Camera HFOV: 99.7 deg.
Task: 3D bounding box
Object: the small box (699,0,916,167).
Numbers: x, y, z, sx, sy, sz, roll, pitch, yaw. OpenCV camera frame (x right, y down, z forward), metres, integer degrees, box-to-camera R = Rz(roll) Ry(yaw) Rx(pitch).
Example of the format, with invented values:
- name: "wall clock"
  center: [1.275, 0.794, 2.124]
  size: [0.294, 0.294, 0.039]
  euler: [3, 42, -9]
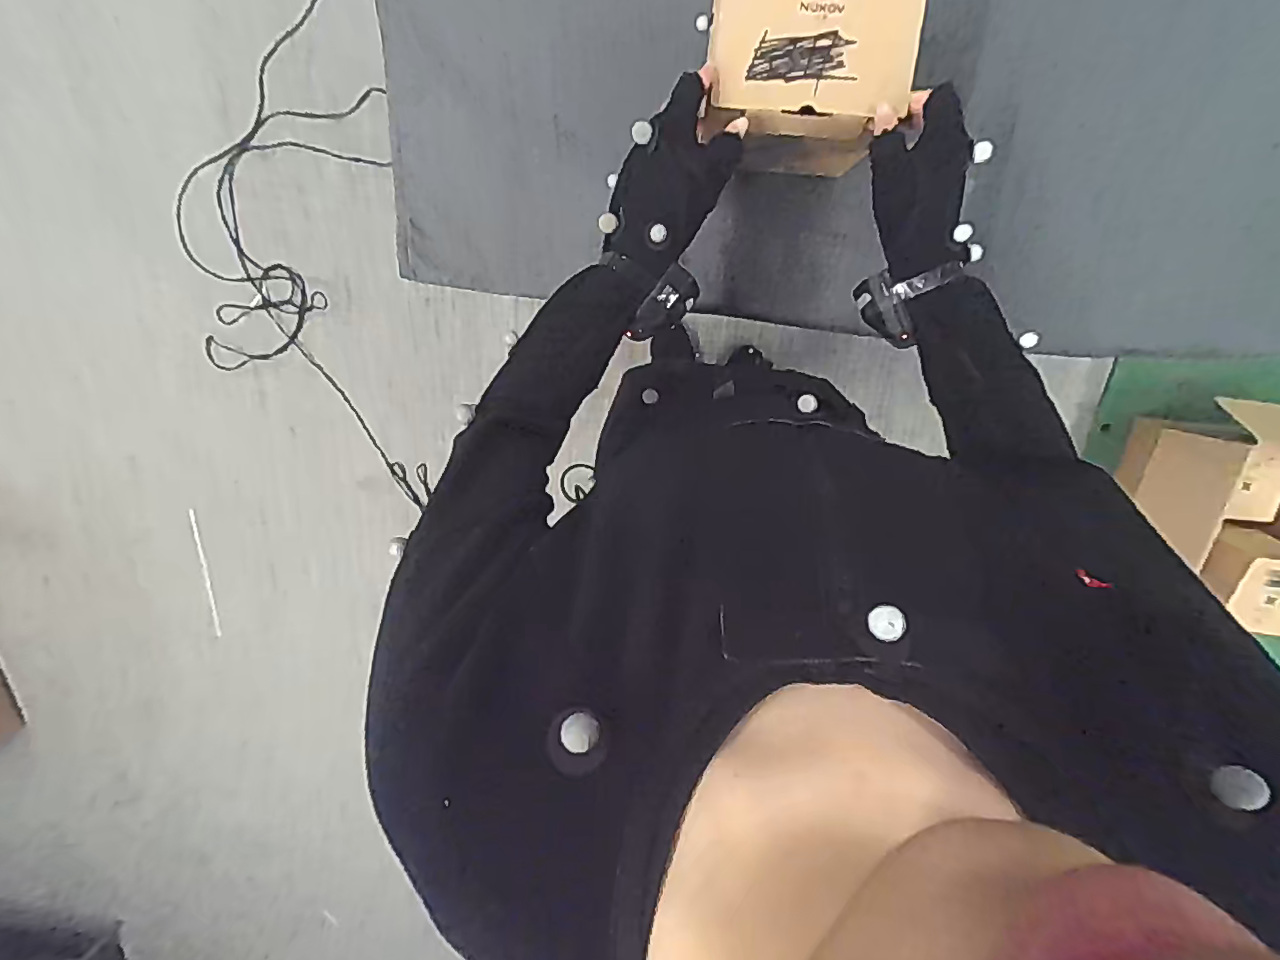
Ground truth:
- name: "small box"
  center: [0.146, -0.415, 0.512]
  size: [0.168, 0.176, 0.179]
  euler: [5, 106, 2]
